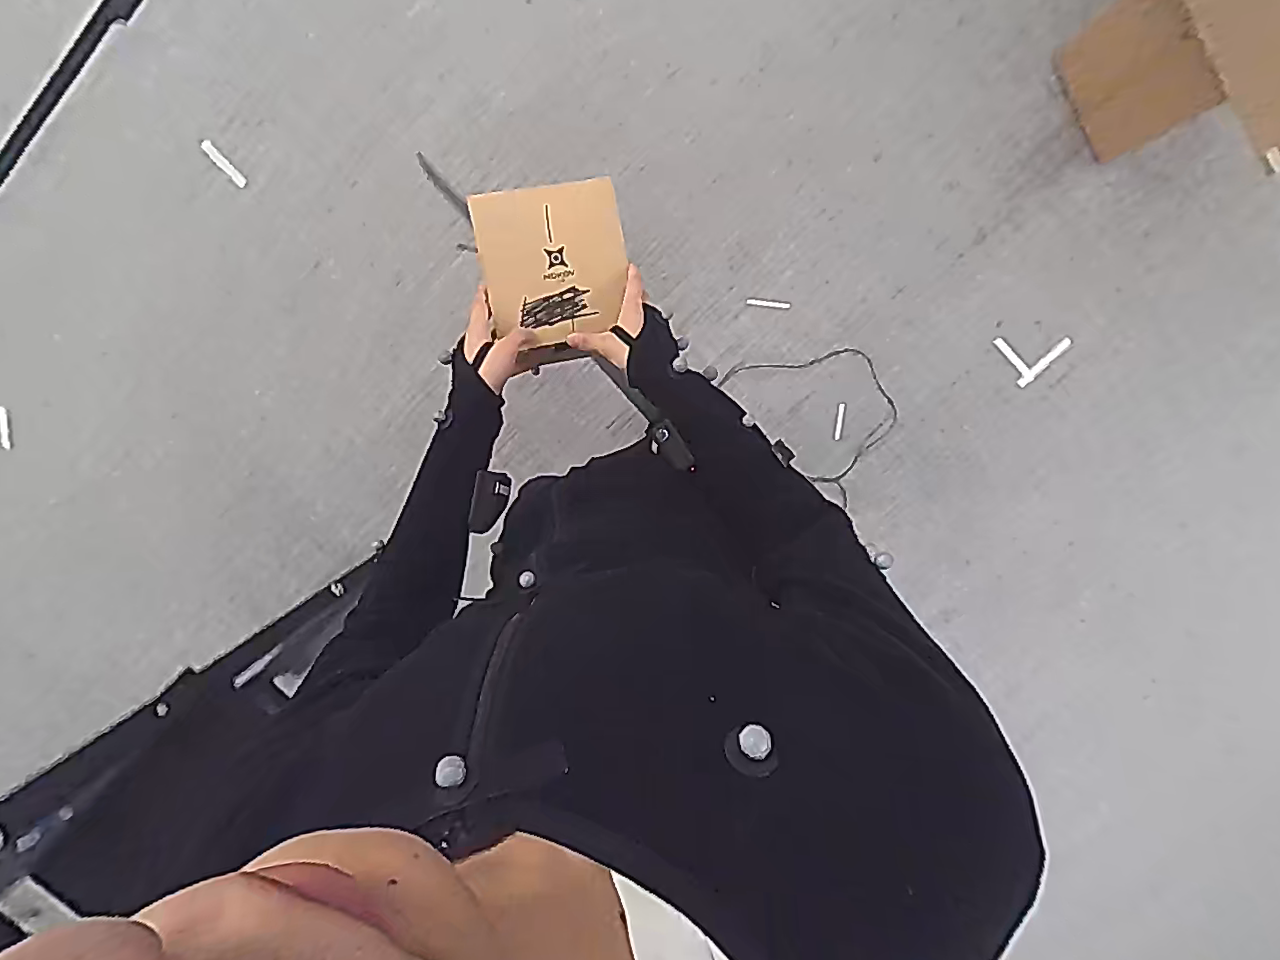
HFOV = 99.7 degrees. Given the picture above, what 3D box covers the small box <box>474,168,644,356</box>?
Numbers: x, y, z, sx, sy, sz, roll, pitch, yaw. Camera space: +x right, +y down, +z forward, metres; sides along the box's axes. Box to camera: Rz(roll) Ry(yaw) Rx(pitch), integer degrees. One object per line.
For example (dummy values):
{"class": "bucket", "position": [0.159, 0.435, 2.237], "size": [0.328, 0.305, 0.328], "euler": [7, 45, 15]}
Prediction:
{"class": "small box", "position": [-0.098, -0.258, 0.681], "size": [0.168, 0.176, 0.179], "euler": [-11, 97, -8]}
